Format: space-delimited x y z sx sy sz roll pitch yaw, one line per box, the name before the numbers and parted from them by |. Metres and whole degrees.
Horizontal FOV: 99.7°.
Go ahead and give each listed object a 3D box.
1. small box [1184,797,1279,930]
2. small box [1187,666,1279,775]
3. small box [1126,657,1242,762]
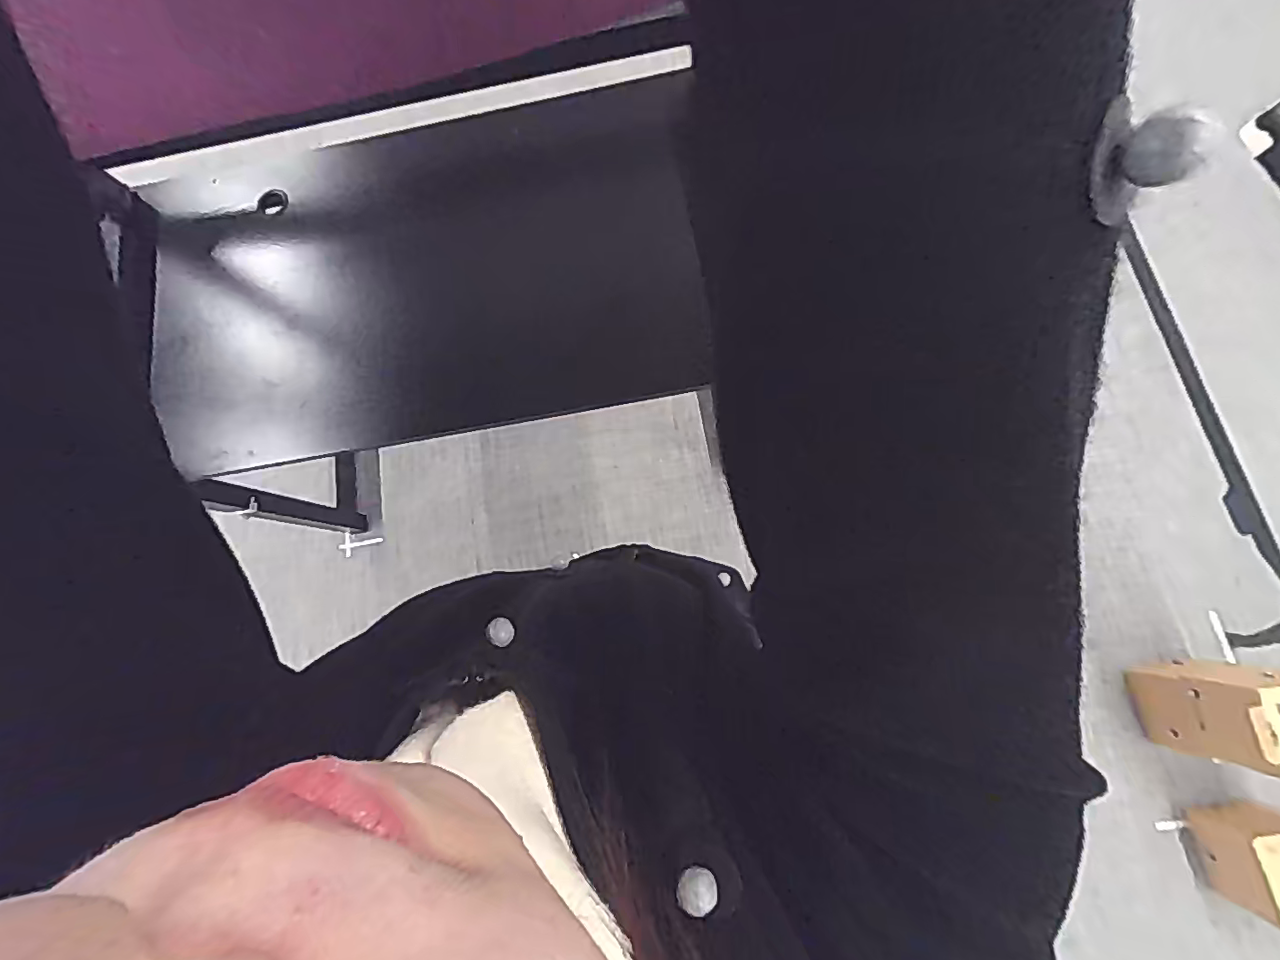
small box | 1.356 0.820 1.168 0.168 0.176 0.179 -11 78 3
small box | 1.262 0.476 1.080 0.179 0.176 0.168 -9 78 2
small box | 1.282 0.516 1.237 0.168 0.176 0.179 -11 78 3
